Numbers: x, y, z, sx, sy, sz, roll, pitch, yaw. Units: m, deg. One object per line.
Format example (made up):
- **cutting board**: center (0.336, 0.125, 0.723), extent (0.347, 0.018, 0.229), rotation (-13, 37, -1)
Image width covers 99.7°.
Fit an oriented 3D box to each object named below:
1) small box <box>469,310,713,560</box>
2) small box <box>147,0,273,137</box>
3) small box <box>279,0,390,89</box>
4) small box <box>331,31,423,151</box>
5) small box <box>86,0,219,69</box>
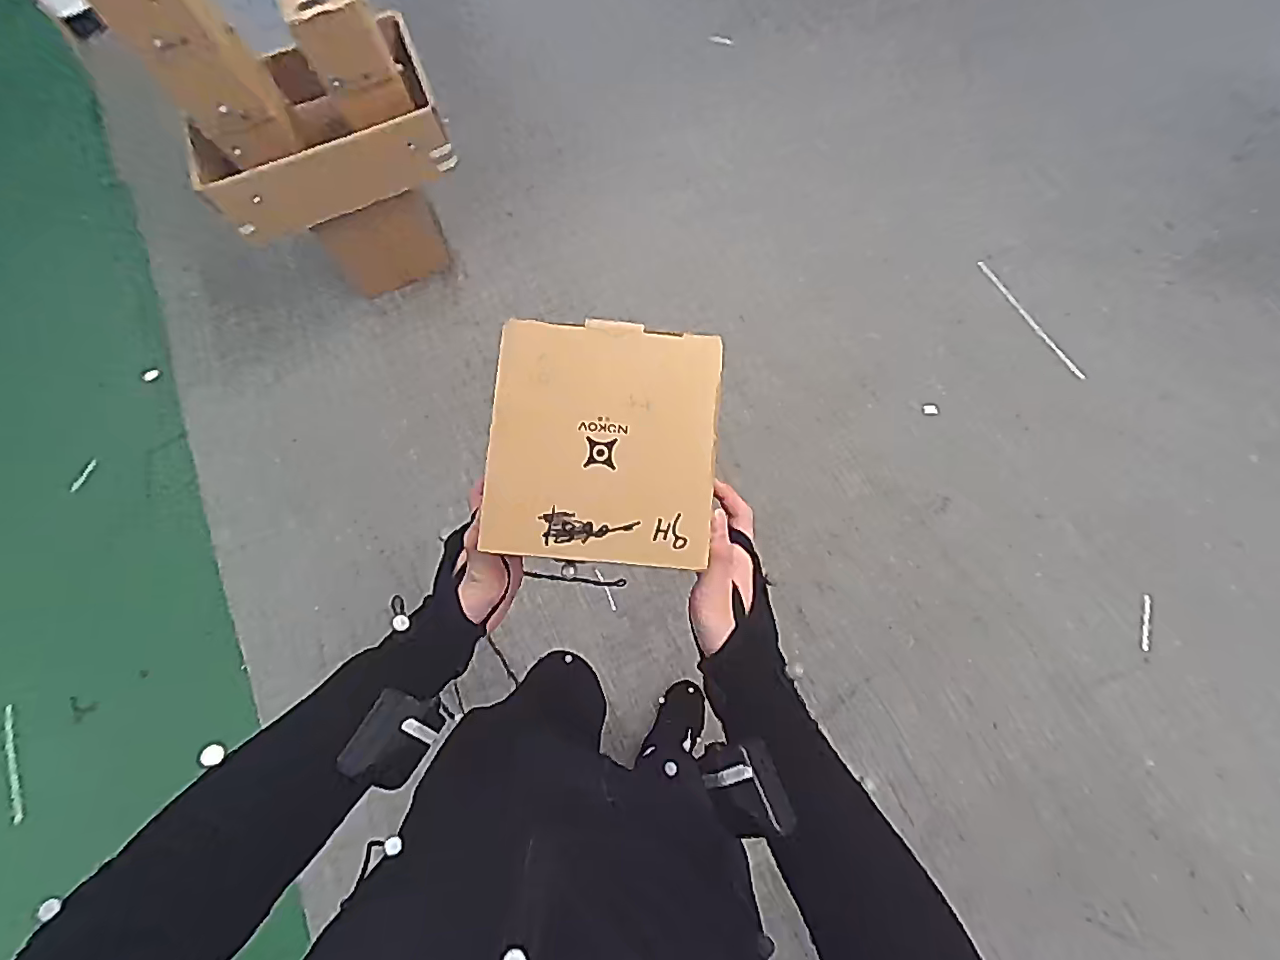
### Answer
- **small box**: center (-0.034, -0.025, 0.471), extent (0.168, 0.176, 0.179), rotation (4, 83, 1)
- **small box**: center (-1.001, -0.954, 1.264), extent (0.168, 0.176, 0.179), rotation (-20, 73, -1)
- **small box**: center (-0.718, -1.067, 1.277), extent (0.168, 0.176, 0.179), rotation (-20, 73, -3)
- **small box**: center (-0.707, -1.027, 1.437), extent (0.168, 0.176, 0.179), rotation (-22, 74, -3)
- **small box**: center (-1.012, -1.000, 1.108), extent (0.168, 0.176, 0.179), rotation (-21, 73, -1)
